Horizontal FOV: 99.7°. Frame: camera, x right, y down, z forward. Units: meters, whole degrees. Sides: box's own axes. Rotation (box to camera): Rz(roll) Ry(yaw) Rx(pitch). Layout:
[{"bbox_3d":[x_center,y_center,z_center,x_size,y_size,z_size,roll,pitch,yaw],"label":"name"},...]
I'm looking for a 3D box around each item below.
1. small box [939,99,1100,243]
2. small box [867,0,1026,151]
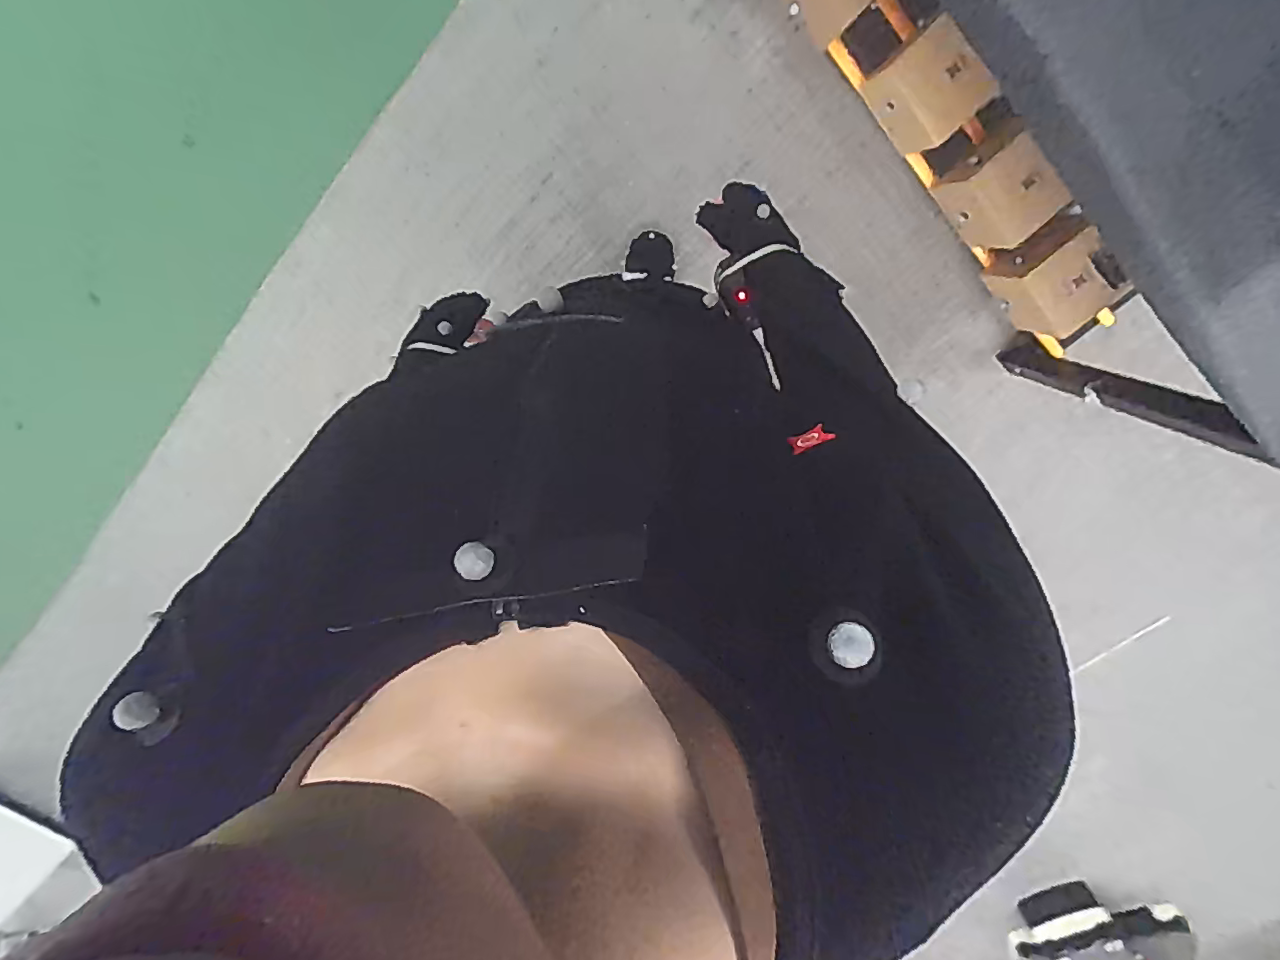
[{"bbox_3d":[0.728,-0.591,1.065,0.168,0.176,0.179,42,109,-14],"label":"small box"},{"bbox_3d":[0.549,-0.748,1.002,0.179,0.176,0.168,-41,107,18],"label":"small box"}]
